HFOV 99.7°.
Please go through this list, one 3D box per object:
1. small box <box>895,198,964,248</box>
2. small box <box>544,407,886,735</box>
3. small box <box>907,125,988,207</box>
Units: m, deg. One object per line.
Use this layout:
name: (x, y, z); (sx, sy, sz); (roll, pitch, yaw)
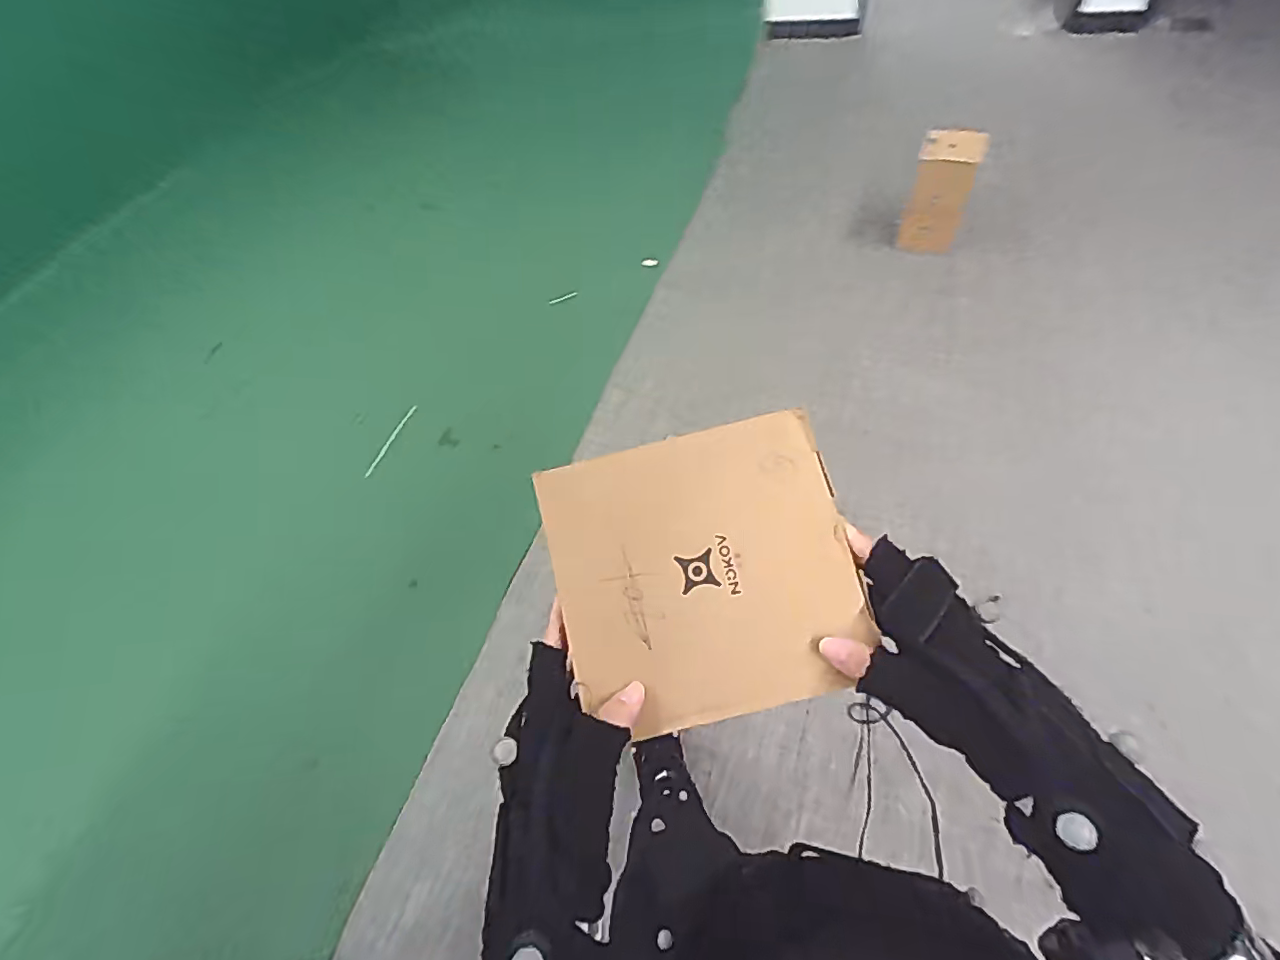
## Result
small box: (1.023, -0.944, 1.902); (0.179, 0.176, 0.168); (19, 63, 20)
small box: (0.046, 0.066, 0.403); (0.179, 0.176, 0.168); (-15, 76, 3)
small box: (0.997, -1.020, 1.762); (0.179, 0.176, 0.168); (17, 65, 19)
